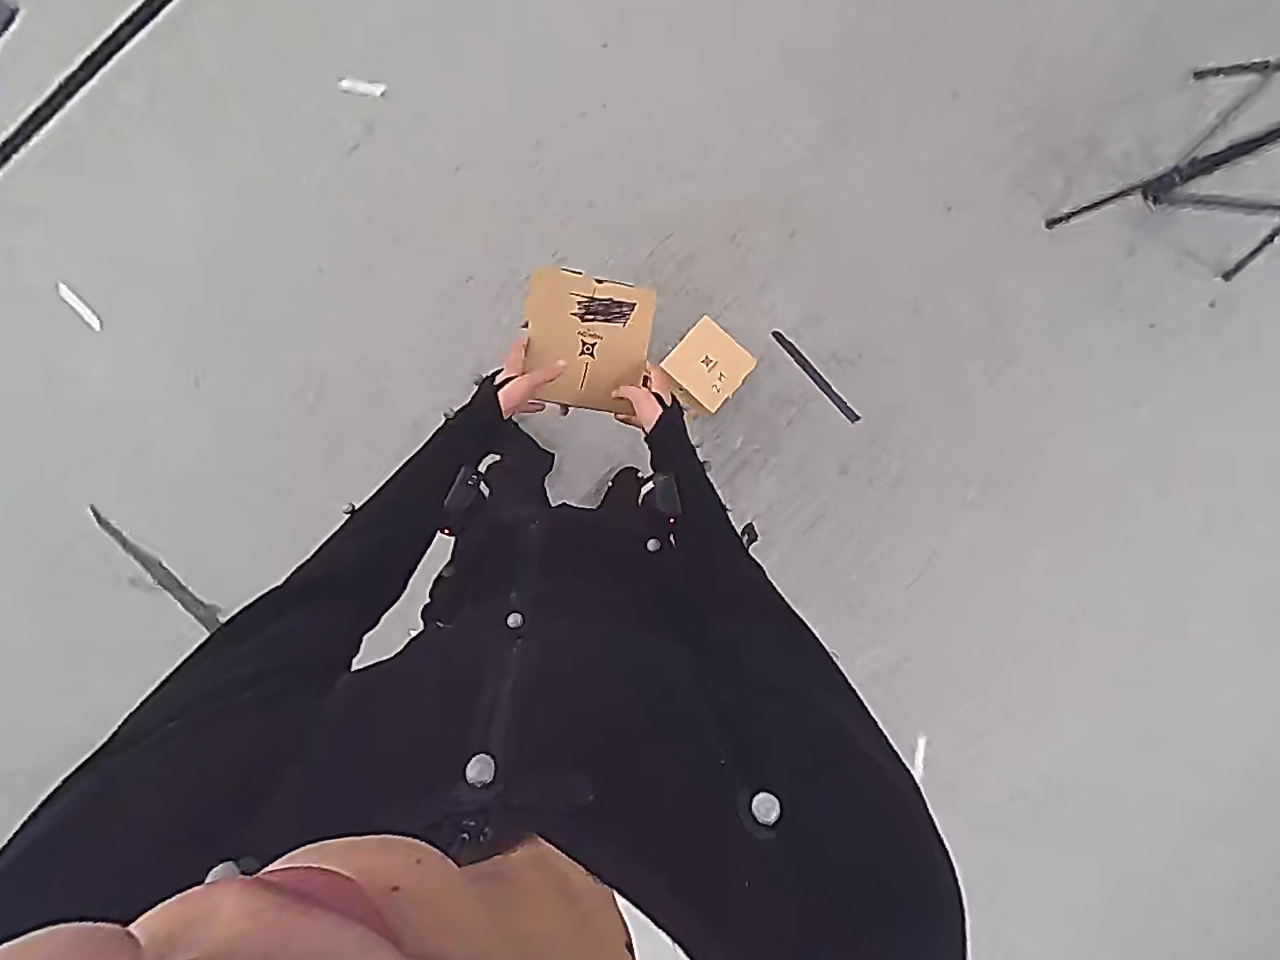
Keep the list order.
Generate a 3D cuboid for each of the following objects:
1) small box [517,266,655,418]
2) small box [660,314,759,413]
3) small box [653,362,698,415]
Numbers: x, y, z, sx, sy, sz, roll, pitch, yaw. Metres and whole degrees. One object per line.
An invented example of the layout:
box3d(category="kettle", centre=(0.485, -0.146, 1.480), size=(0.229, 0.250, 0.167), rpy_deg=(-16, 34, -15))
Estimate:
box3d(category="small box", centre=(-0.090, -0.193, 0.806), size=(0.168, 0.176, 0.179), rpy_deg=(8, 97, -16))
box3d(category="small box", centre=(0.166, -0.282, 1.365), size=(0.179, 0.176, 0.168), rpy_deg=(43, 92, -4))
box3d(category="small box", centre=(0.149, -0.302, 1.528), size=(0.168, 0.176, 0.179), rpy_deg=(44, 92, -4))
